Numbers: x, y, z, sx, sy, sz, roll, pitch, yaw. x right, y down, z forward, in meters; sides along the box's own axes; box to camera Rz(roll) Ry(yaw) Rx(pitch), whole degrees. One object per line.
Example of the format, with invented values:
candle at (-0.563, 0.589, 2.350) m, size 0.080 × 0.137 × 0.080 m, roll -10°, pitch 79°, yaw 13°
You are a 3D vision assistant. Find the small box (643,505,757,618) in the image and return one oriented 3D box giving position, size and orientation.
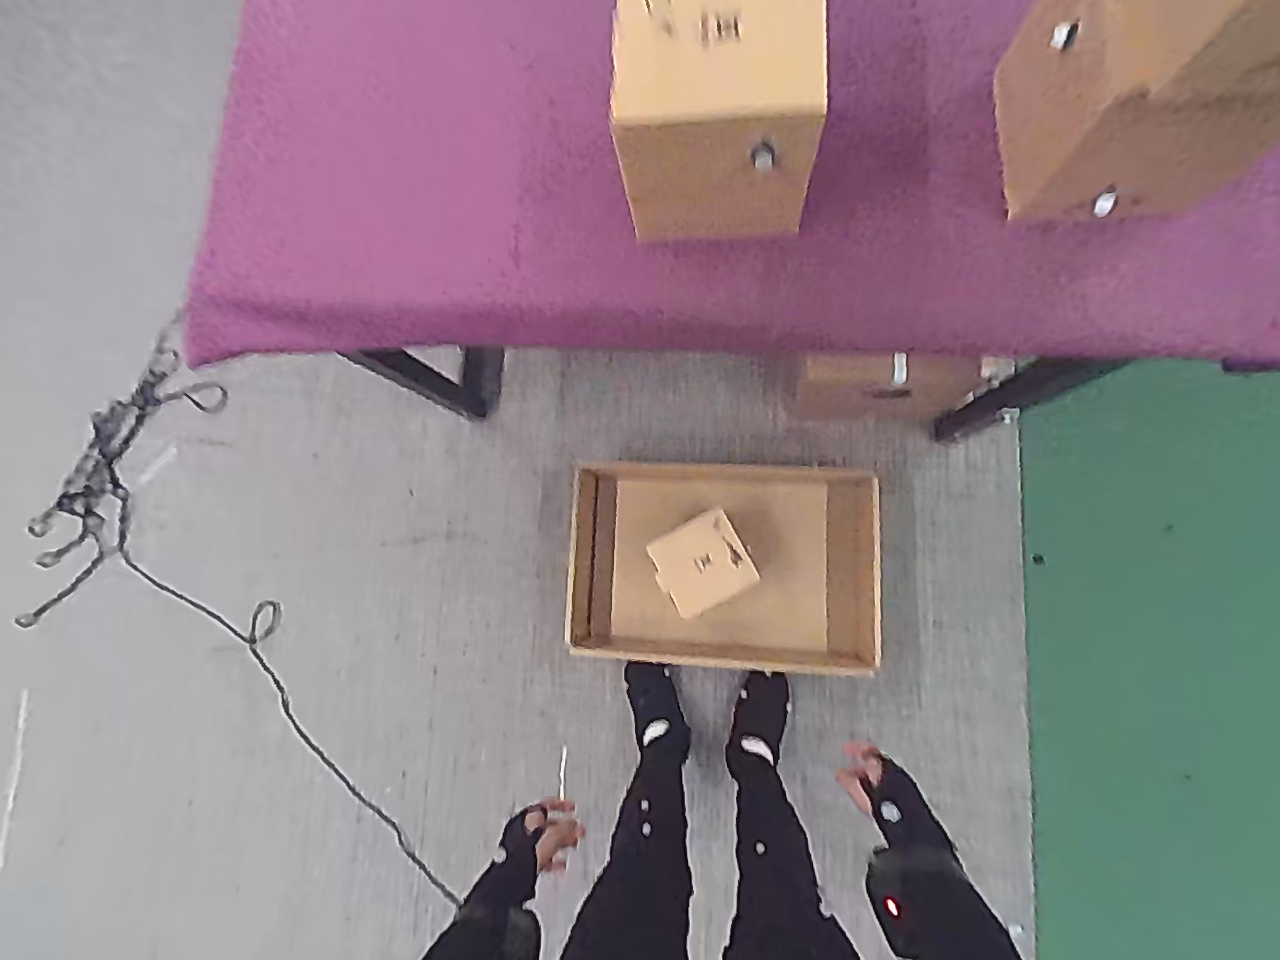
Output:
small box at (0.130, 0.170, 1.132) m, size 0.179 × 0.176 × 0.168 m, roll -29°, pitch 79°, yaw 4°

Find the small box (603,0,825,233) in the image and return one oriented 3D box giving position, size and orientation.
small box at (0.070, -0.360, 0.517) m, size 0.179 × 0.176 × 0.168 m, roll 1°, pitch 81°, yaw 9°
